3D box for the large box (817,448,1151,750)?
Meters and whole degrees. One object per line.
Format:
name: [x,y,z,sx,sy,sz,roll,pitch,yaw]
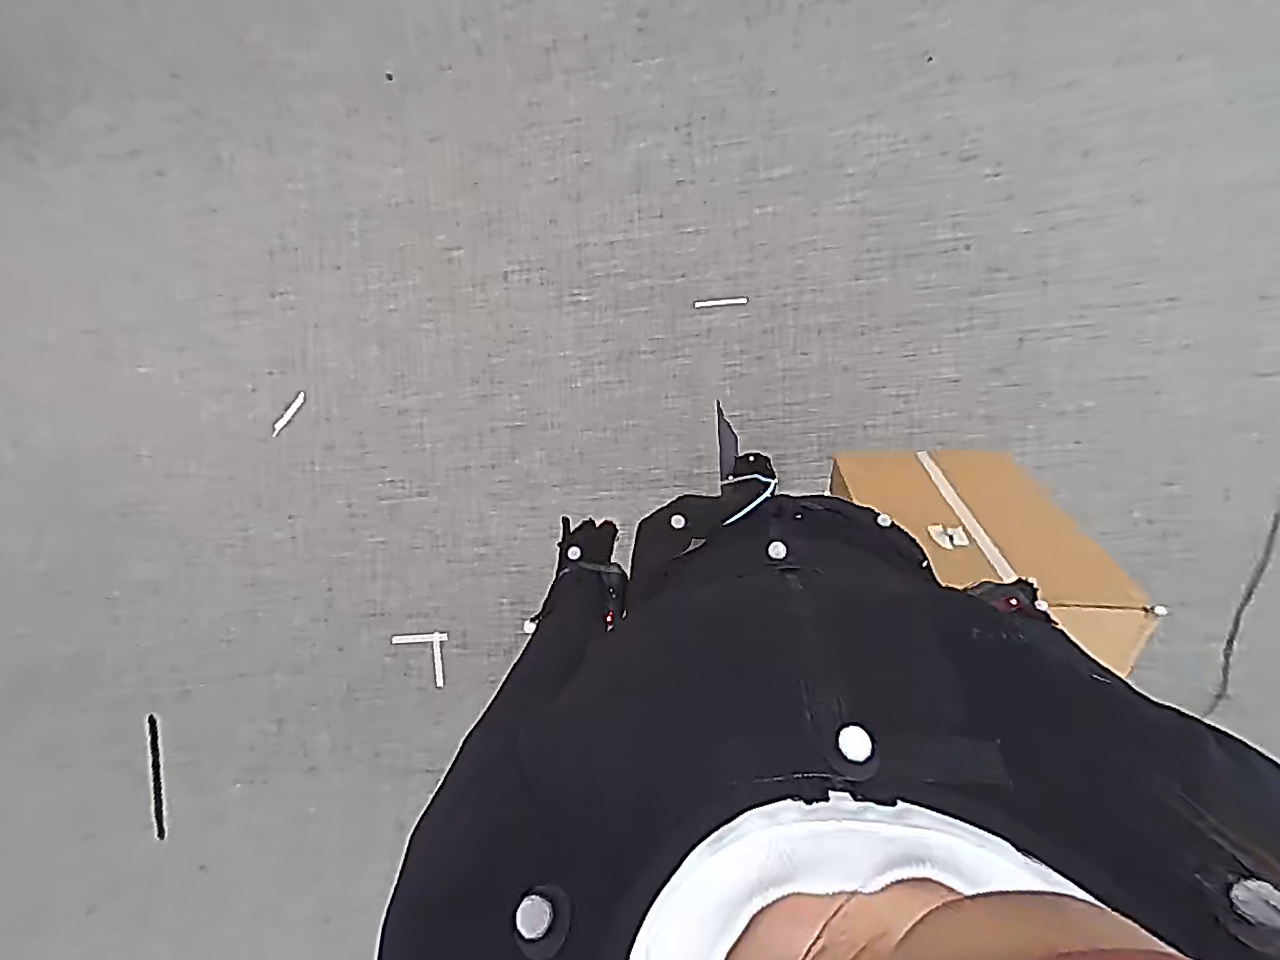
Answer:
large box: [0.506,0.178,0.922,0.320,0.408,0.320,-1,123,9]
